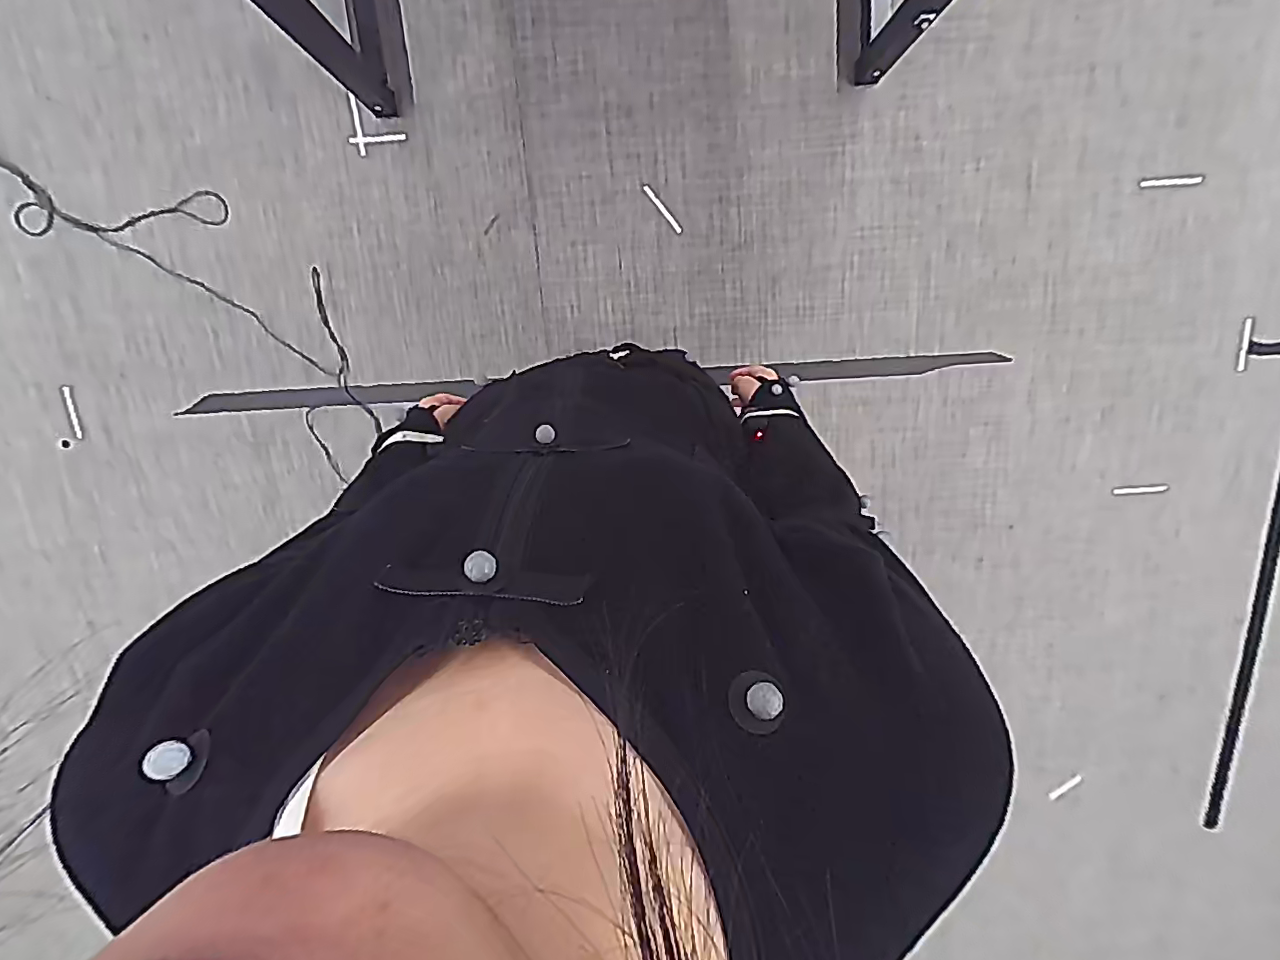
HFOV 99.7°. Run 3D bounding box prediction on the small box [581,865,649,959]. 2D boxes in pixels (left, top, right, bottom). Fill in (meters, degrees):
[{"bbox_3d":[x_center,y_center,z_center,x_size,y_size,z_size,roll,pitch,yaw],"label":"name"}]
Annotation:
[{"bbox_3d":[-0.066,1.221,1.504,0.168,0.176,0.179,-8,104,0],"label":"small box"}]
